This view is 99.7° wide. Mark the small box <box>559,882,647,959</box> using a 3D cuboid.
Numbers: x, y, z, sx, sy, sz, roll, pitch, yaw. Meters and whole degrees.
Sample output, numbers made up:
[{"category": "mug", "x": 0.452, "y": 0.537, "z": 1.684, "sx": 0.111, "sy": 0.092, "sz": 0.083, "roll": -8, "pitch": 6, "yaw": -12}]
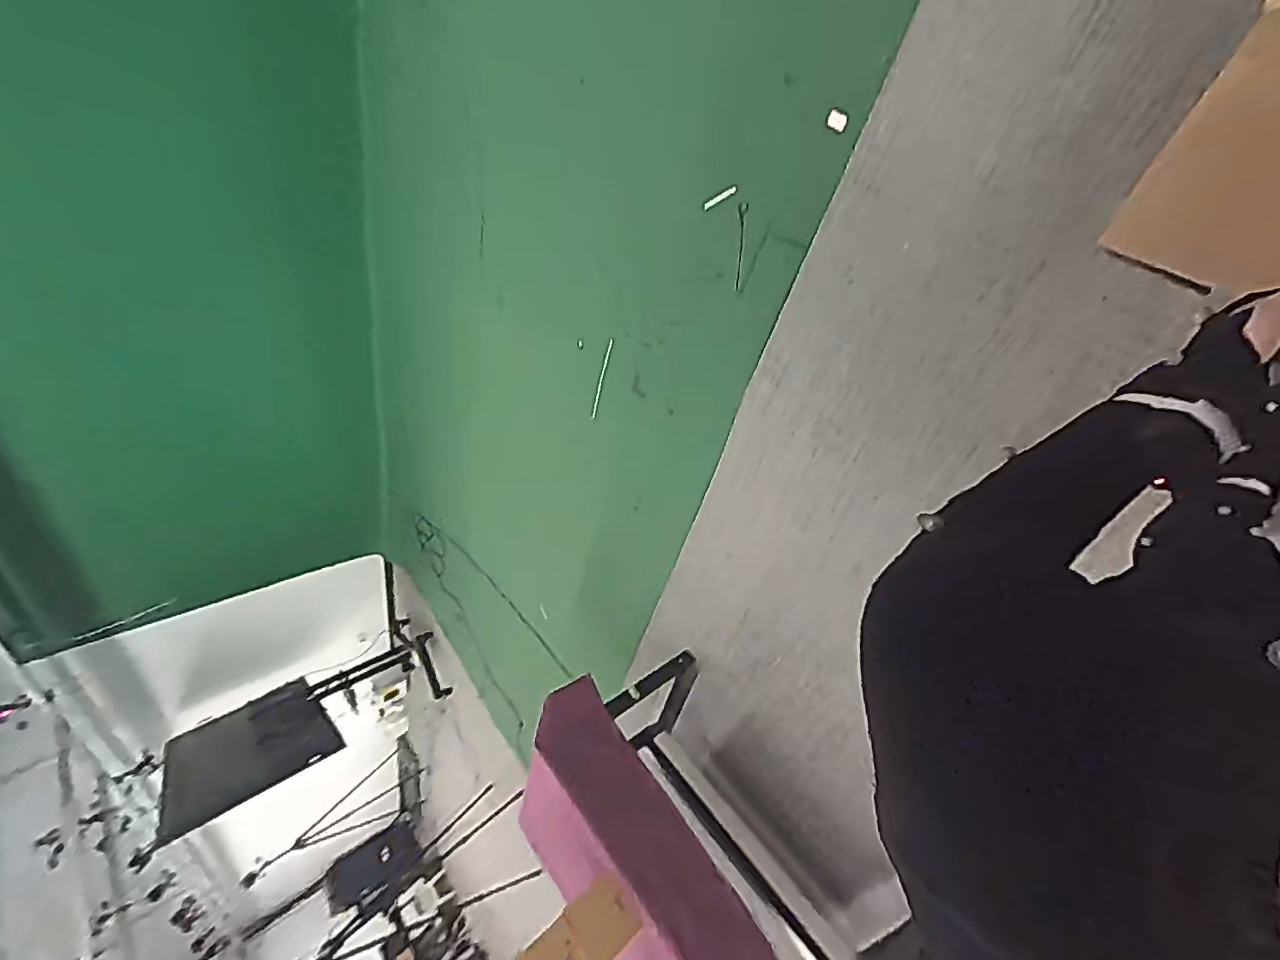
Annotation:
[{"category": "small box", "x": -0.110, "y": 1.287, "z": 1.529, "sx": 0.179, "sy": 0.176, "sz": 0.168, "roll": 43, "pitch": 134, "yaw": 31}]

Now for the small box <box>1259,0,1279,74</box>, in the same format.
[{"category": "small box", "x": 0.745, "y": -0.497, "z": 0.504, "sx": 0.168, "sy": 0.176, "sz": 0.179, "roll": 44, "pitch": 130, "yaw": 30}]

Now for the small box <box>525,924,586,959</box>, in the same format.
[{"category": "small box", "x": -0.231, "y": 1.338, "z": 1.432, "sx": 0.168, "sy": 0.176, "sz": 0.179, "roll": 43, "pitch": 132, "yaw": 30}]
